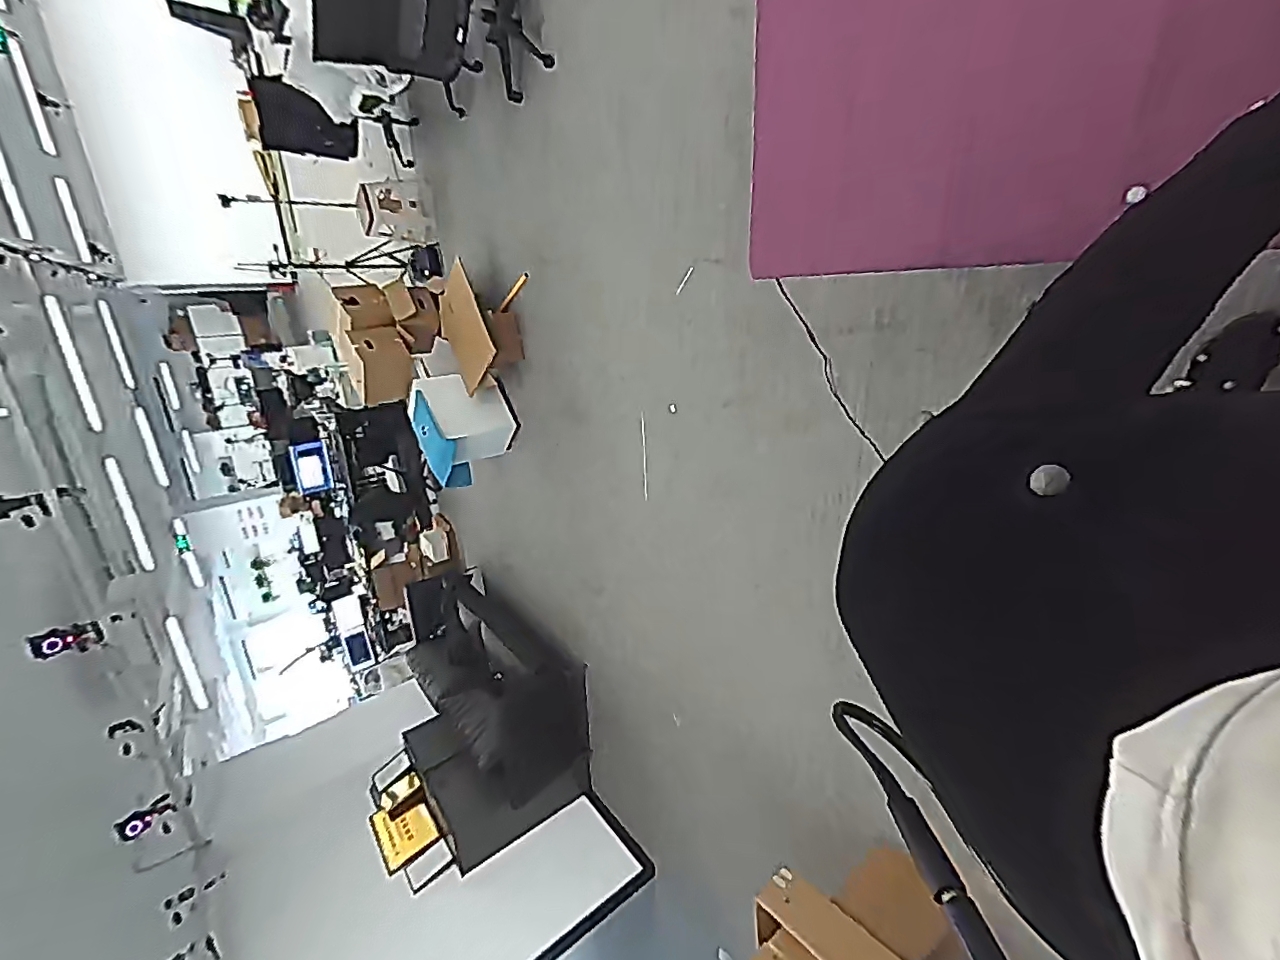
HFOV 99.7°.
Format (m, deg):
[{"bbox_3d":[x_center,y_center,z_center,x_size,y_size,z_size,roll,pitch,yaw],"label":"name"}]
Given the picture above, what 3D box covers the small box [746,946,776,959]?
[{"bbox_3d":[0.417,1.732,1.806,0.168,0.176,0.179,3,104,53],"label":"small box"}]
